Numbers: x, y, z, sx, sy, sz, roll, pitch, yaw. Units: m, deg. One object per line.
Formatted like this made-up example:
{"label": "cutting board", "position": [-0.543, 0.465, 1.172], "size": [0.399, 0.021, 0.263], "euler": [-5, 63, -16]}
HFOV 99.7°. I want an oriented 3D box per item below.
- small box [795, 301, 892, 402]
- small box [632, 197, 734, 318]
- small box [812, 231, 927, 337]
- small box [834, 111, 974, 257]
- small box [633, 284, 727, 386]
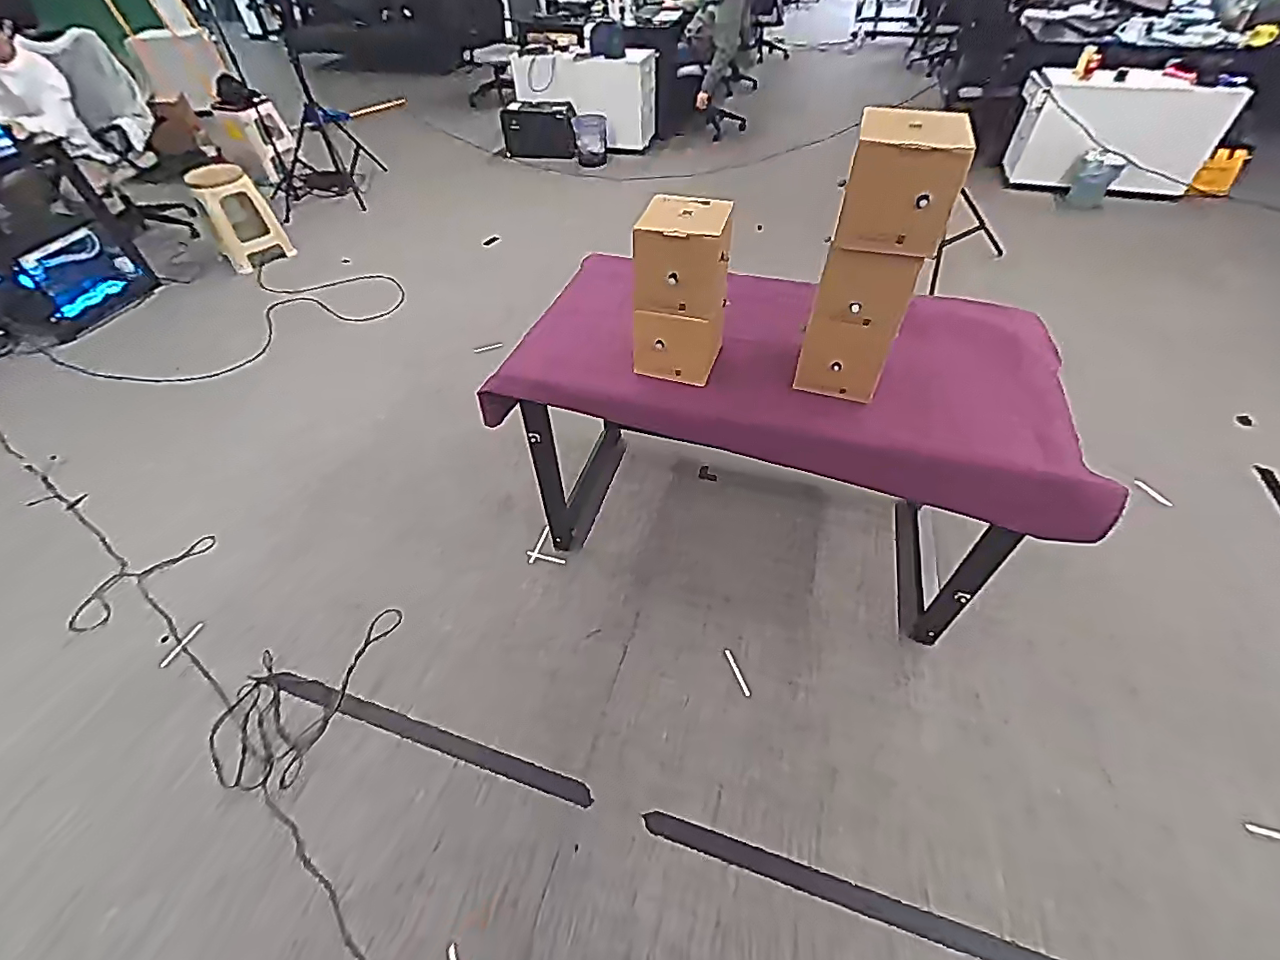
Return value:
{"label": "small box", "position": [0.441, -0.294, 1.169], "size": [0.168, 0.176, 0.179], "euler": [15, 50, 14]}
{"label": "small box", "position": [0.089, -0.450, 1.098], "size": [0.168, 0.176, 0.179], "euler": [12, 49, 11]}
{"label": "small box", "position": [0.442, -0.406, 1.048], "size": [0.168, 0.176, 0.179], "euler": [14, 51, 14]}
{"label": "small box", "position": [0.434, -0.498, 0.913], "size": [0.168, 0.176, 0.179], "euler": [13, 49, 11]}
{"label": "small box", "position": [0.091, -0.335, 1.215], "size": [0.168, 0.176, 0.179], "euler": [14, 49, 13]}
